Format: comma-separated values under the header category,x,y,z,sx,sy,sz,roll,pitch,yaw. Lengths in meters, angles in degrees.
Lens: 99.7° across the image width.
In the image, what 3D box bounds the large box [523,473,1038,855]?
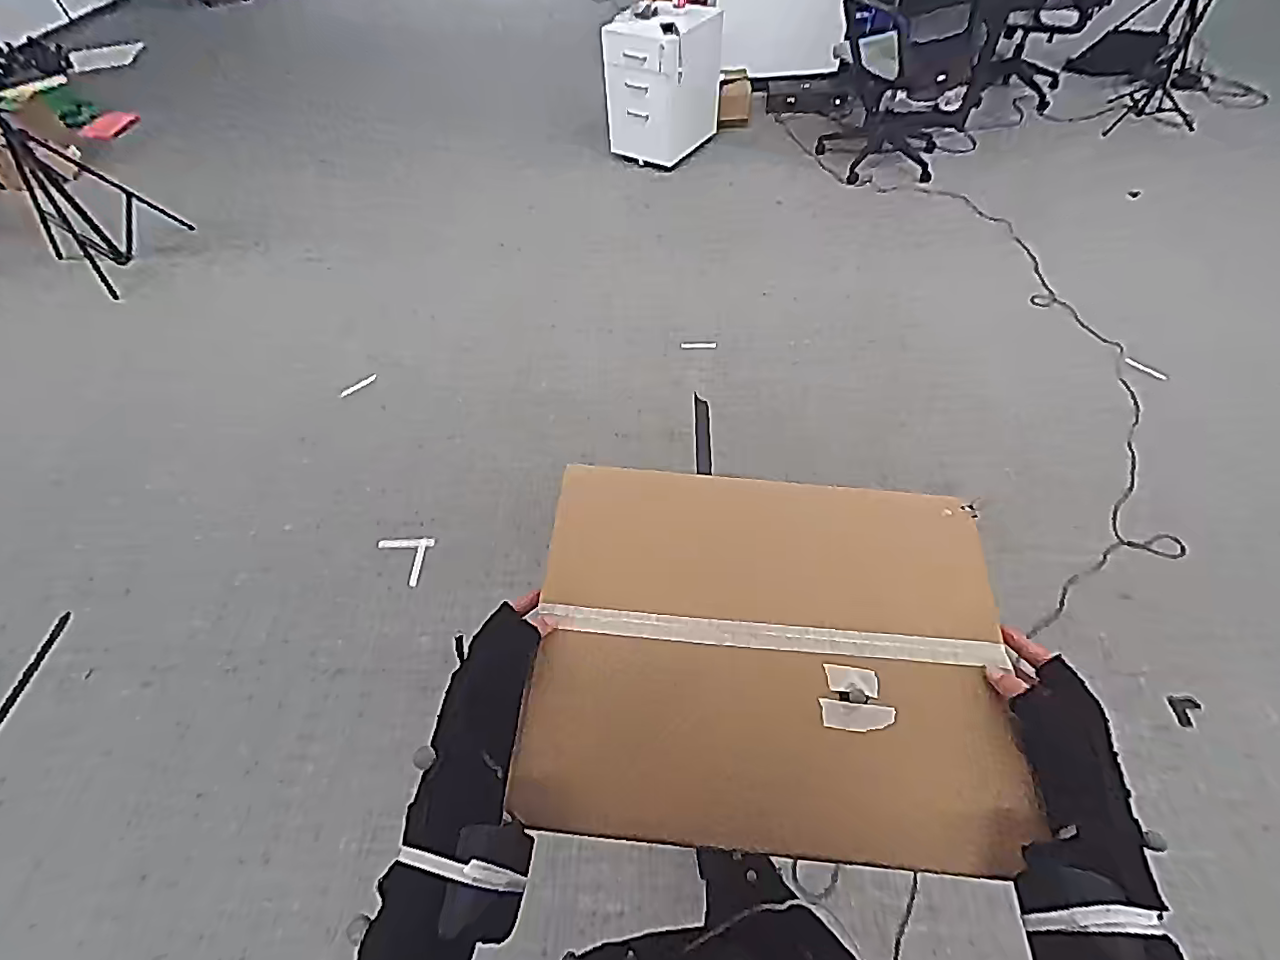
category,x,y,z,sx,sy,sz,roll,pitch,yaw
large box,0.111,0.212,0.613,0.408,0.320,0.320,5,61,1
